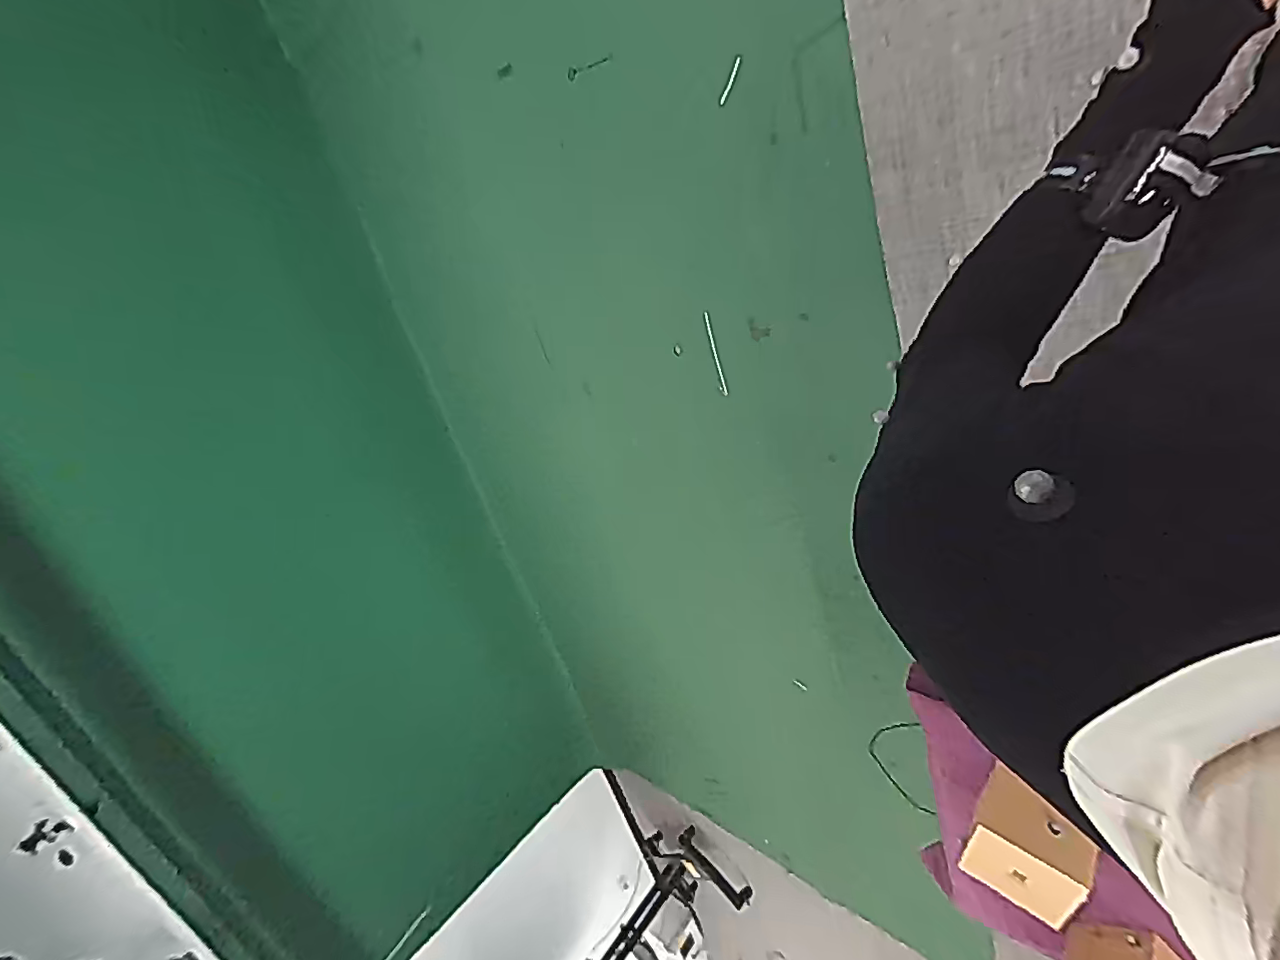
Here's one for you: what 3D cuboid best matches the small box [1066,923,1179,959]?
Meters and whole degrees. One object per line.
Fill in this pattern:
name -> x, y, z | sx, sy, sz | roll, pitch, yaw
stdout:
small box -> 0.946, 0.994, 1.025 | 0.179, 0.176, 0.168 | 48, 141, 11

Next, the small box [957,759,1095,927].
small box -> 0.731, 0.676, 1.025 | 0.168, 0.176, 0.179 | 20, 132, 35
